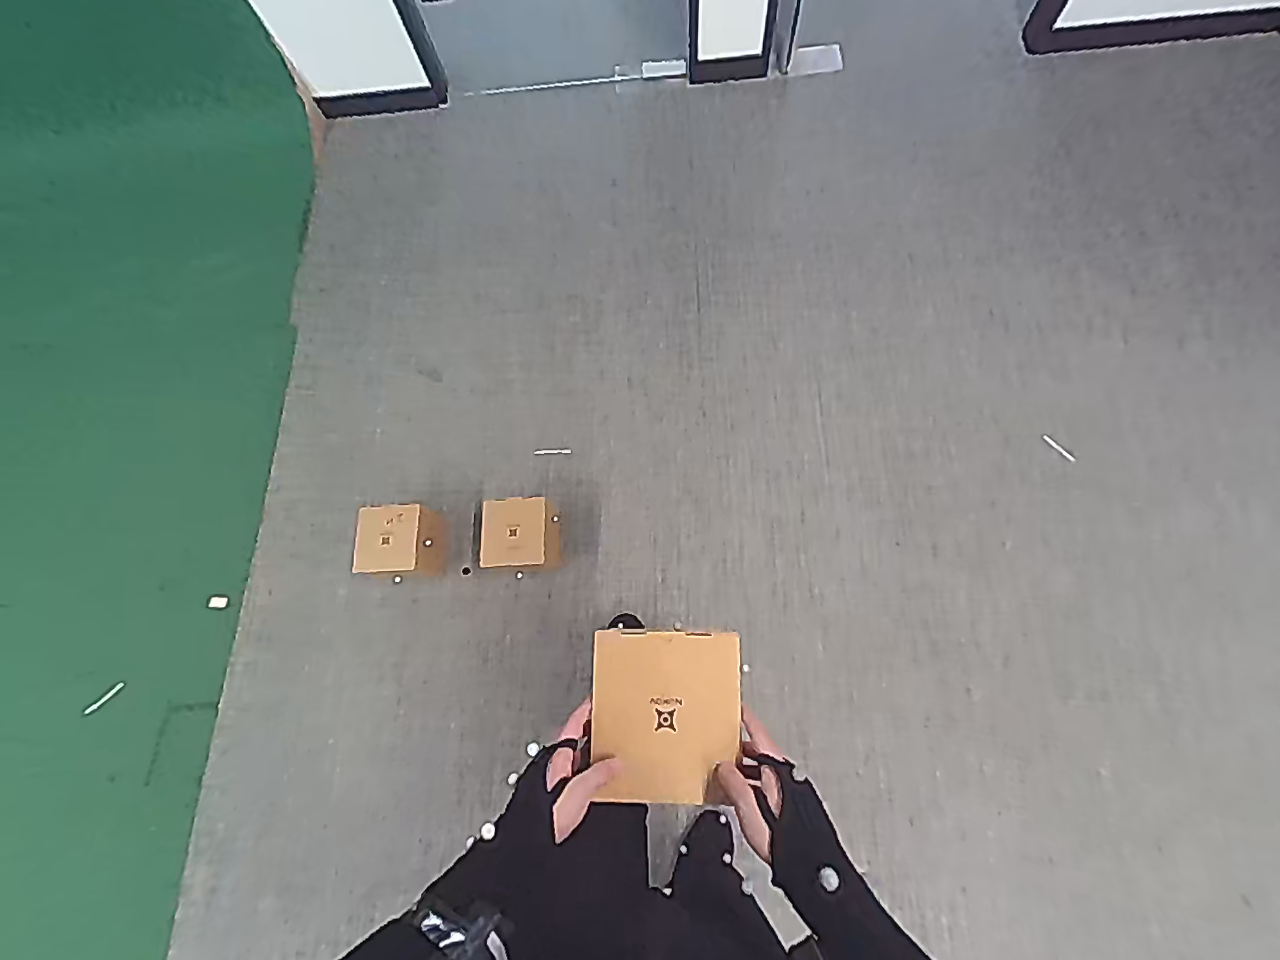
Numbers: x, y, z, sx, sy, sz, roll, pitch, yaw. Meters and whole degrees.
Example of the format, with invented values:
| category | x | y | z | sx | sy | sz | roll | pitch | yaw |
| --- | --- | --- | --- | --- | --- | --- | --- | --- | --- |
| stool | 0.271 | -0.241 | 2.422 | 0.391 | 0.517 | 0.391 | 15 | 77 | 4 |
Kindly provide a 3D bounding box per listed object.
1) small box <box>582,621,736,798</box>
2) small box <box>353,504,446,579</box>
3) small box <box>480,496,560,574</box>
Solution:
| category | x | y | z | sx | sy | sz | roll | pitch | yaw |
| --- | --- | --- | --- | --- | --- | --- | --- | --- | --- |
| small box | 0.028 | 0.267 | 0.664 | 0.168 | 0.176 | 0.179 | 0 | 74 | 4 |
| small box | -0.640 | 0.171 | 1.460 | 0.168 | 0.176 | 0.179 | -3 | 72 | 4 |
| small box | -0.313 | 0.151 | 1.439 | 0.168 | 0.176 | 0.179 | -3 | 73 | 4 |
